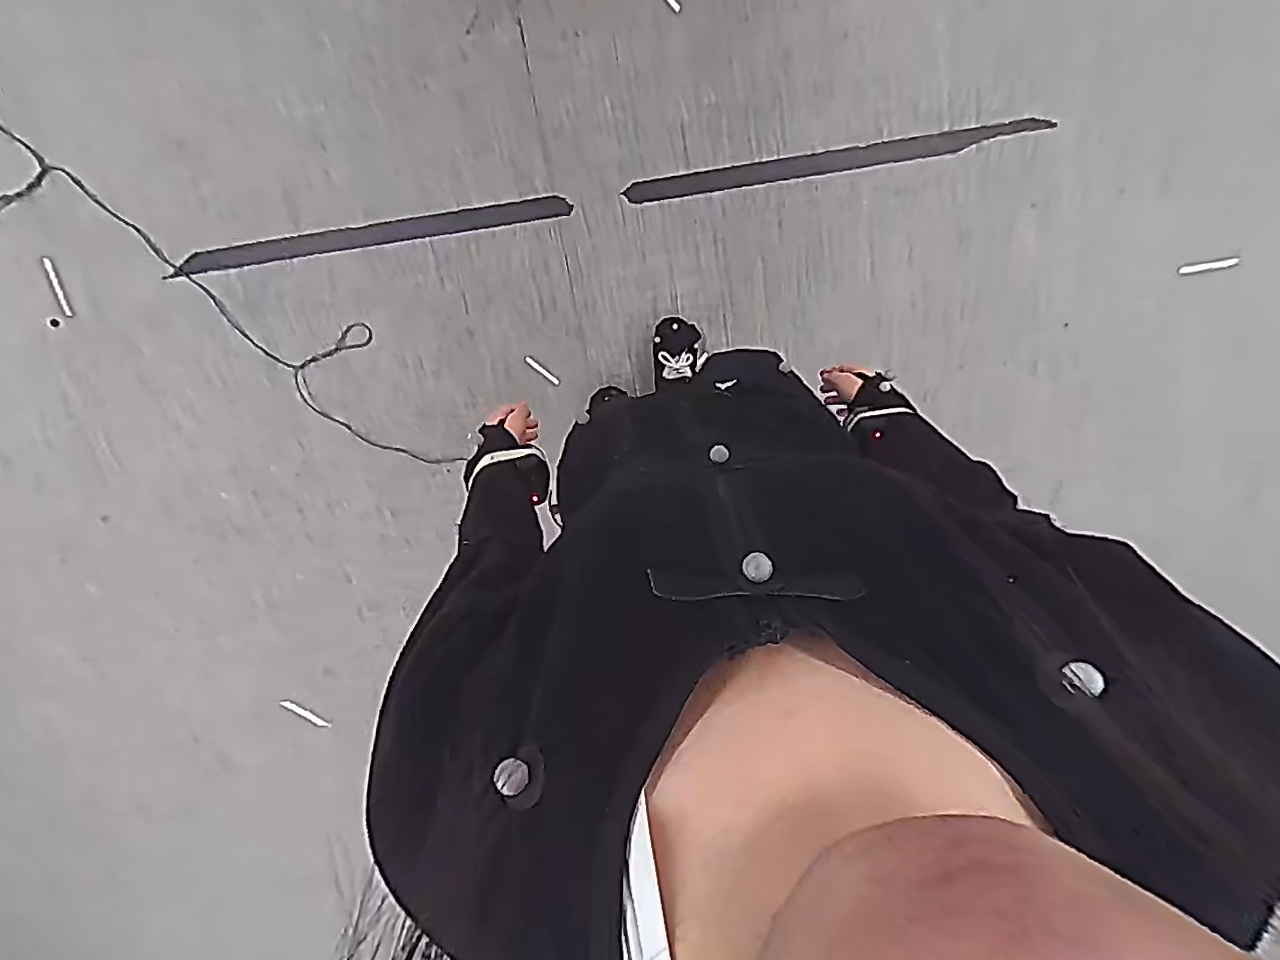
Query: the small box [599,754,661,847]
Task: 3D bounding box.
[{"bbox_3d":[-0.028,1.005,1.702,0.168,0.176,0.179,-10,106,2],"label":"small box"}]
